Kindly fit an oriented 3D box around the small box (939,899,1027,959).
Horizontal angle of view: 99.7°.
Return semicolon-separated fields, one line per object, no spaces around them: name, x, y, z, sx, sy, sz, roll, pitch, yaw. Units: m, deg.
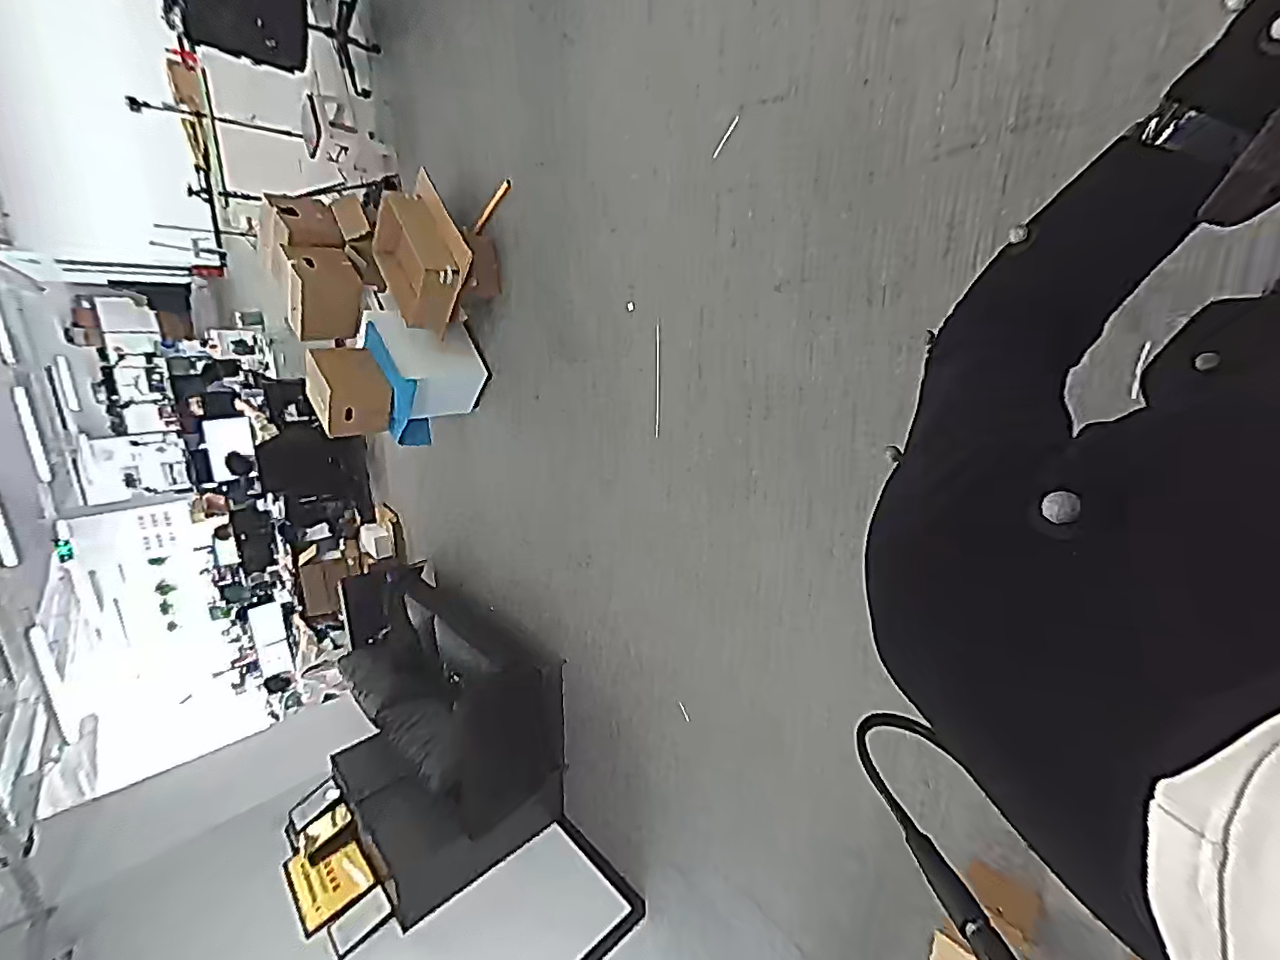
small box;0.931;1.309;1.472;0.168;0.176;0.179;14;111;45

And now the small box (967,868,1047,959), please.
small box;1.054;1.296;1.578;0.179;0.176;0.168;20;115;45
